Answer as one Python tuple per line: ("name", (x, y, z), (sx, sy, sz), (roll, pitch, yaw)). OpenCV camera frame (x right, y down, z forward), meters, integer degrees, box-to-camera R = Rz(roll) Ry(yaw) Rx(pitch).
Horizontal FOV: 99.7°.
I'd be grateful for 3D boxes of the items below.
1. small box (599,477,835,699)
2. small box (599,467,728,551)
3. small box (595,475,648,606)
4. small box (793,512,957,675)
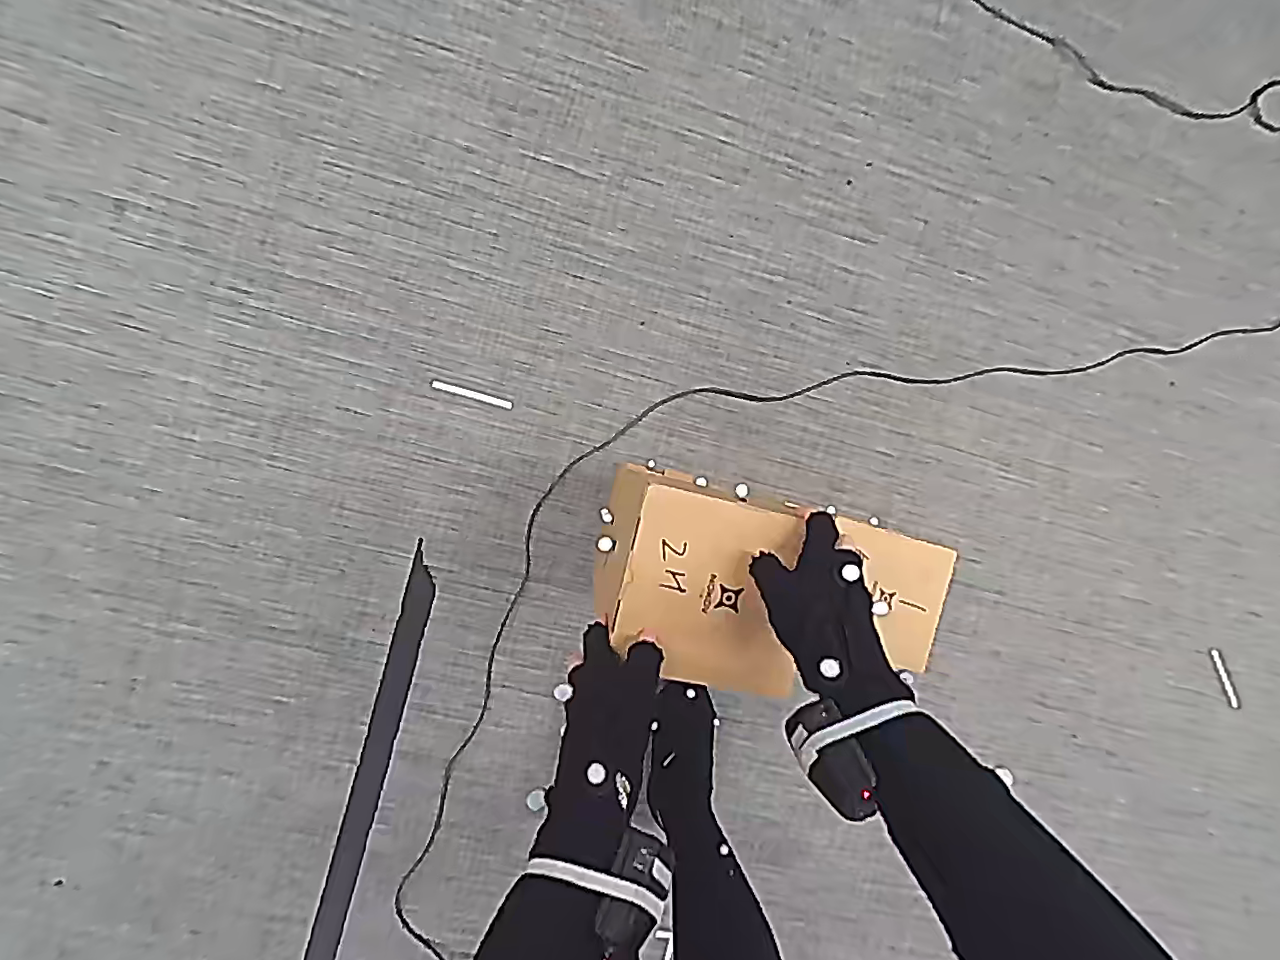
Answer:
("small box", (0.063, 0.096, 0.555), (0.179, 0.176, 0.168), (13, 93, -8))
("small box", (0.029, 0.081, 0.890), (0.168, 0.176, 0.179), (15, 91, -6))
("small box", (0.044, 0.090, 0.727), (0.179, 0.176, 0.168), (14, 90, -6))
("small box", (0.290, 0.146, 0.755), (0.179, 0.176, 0.168), (16, 90, -8))
